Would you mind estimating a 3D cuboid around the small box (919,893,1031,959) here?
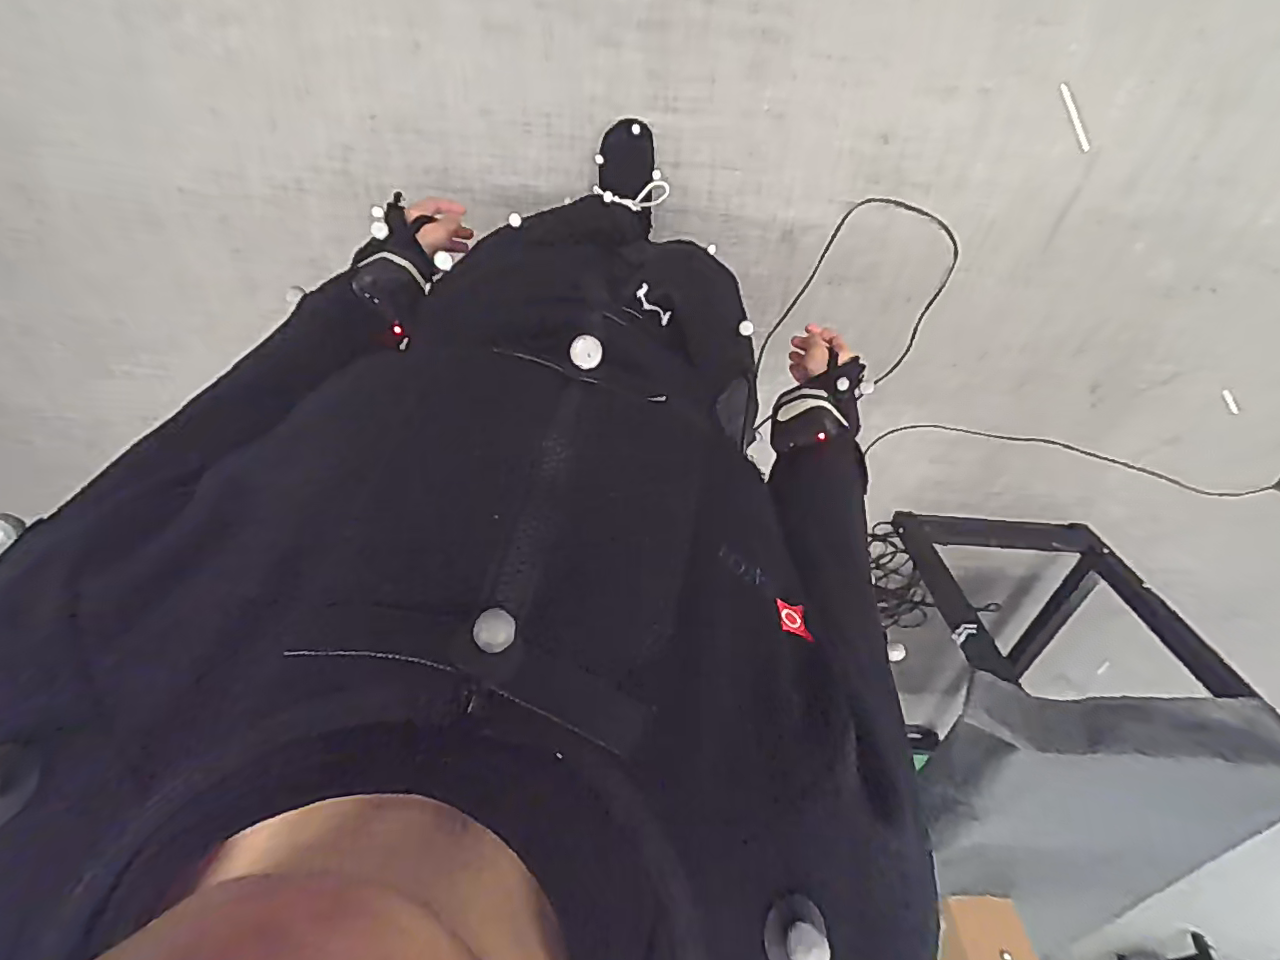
[{"bbox_3d":[0.836,1.157,1.343,0.179,0.176,0.168,6,124,-2],"label":"small box"}]
